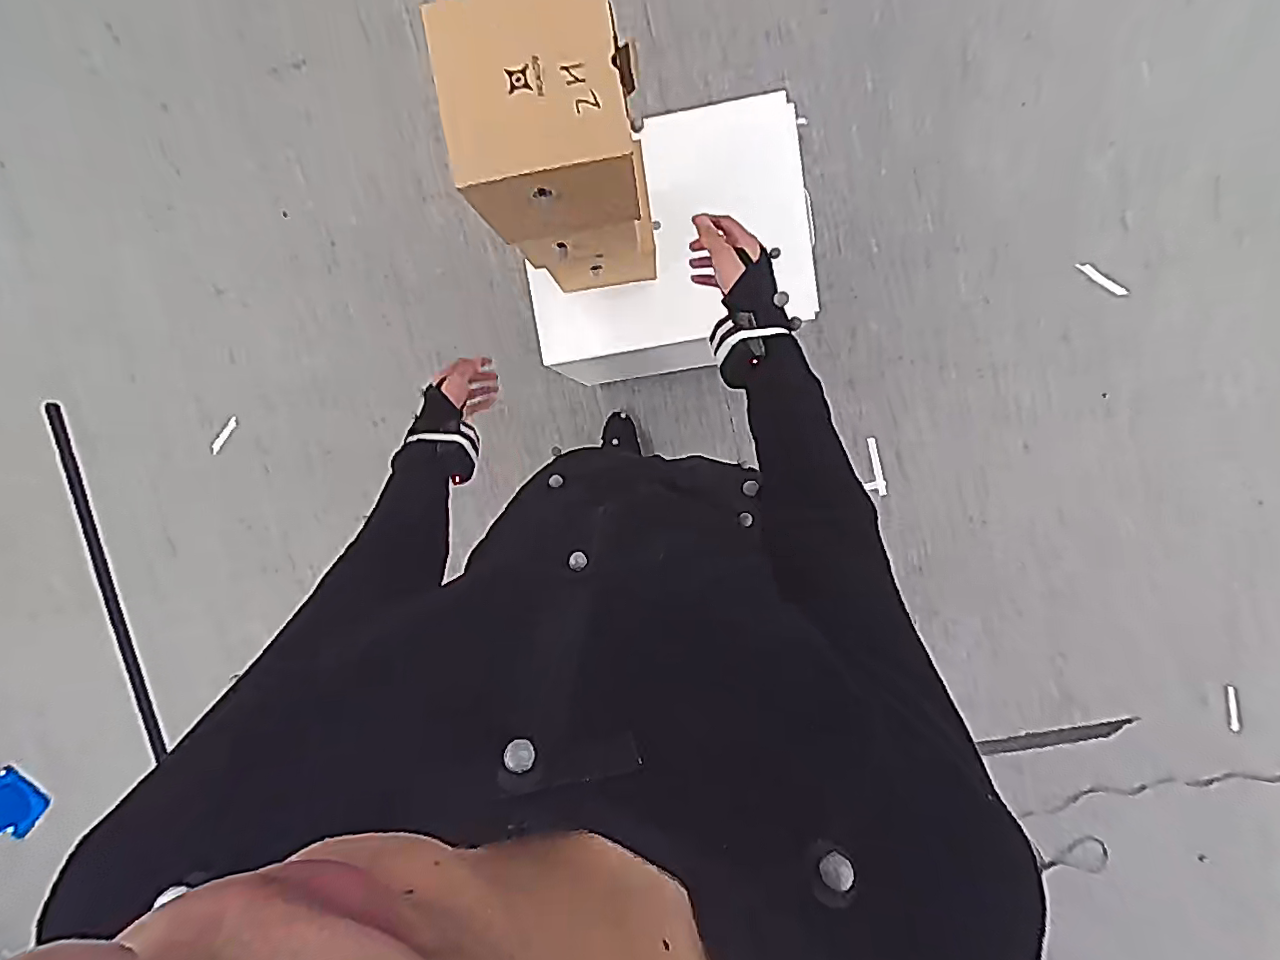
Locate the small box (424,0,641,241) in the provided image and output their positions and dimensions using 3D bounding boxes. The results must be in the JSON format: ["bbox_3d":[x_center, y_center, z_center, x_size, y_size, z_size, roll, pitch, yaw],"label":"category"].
[{"bbox_3d":[-0.099,-0.376,0.580,0.179,0.176,0.168,-9,96,3],"label":"small box"}]

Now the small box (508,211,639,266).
[{"bbox_3d":[-0.093,-0.406,0.743,0.168,0.176,0.179,-6,95,3],"label":"small box"}]

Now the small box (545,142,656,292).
[{"bbox_3d":[-0.069,-0.425,0.903,0.179,0.176,0.168,-8,96,2],"label":"small box"}]
